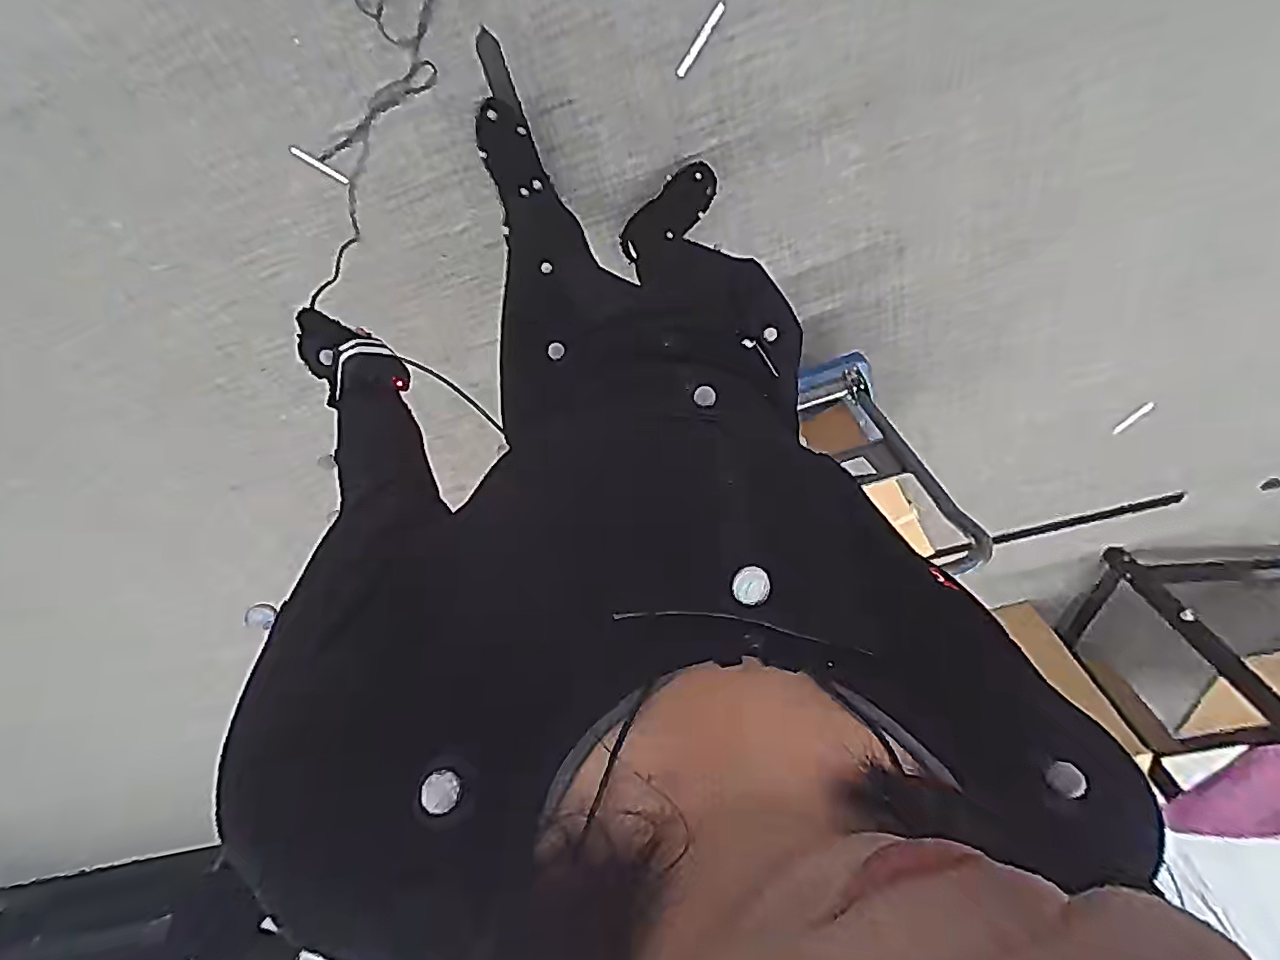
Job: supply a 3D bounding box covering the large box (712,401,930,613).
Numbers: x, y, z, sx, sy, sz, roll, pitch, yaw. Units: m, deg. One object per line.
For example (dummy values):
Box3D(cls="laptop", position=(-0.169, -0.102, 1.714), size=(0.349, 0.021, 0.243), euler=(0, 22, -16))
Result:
Box3D(cls="large box", position=(0.450, 0.072, 1.408), size=(0.408, 0.320, 0.320), euler=(-30, 121, 20))
